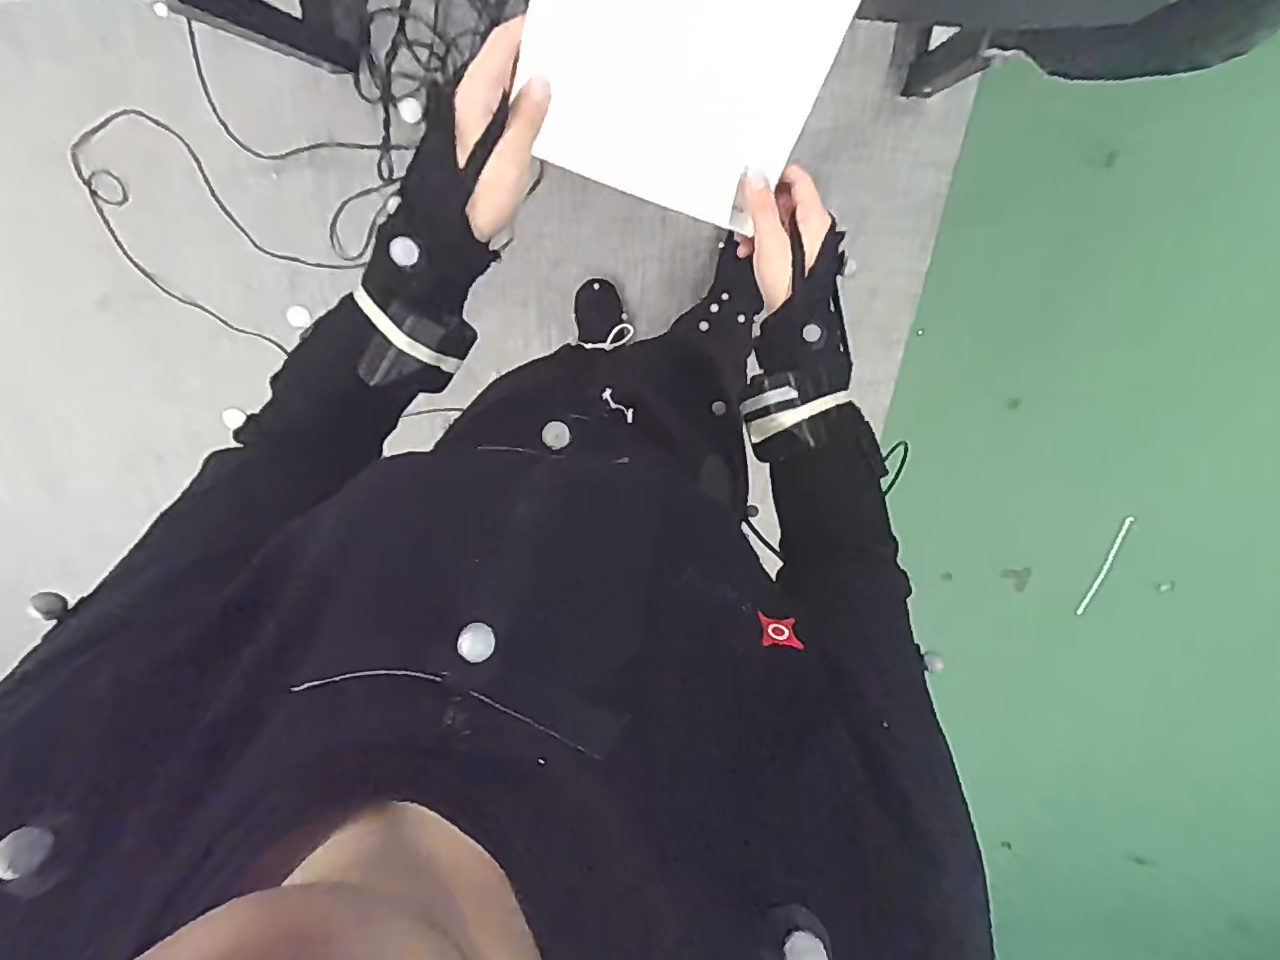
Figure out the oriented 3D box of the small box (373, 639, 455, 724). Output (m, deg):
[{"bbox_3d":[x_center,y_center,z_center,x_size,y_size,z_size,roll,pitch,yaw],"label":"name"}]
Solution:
[{"bbox_3d":[-0.717,0.636,1.727,0.179,0.176,0.168,19,117,-5],"label":"small box"}]
